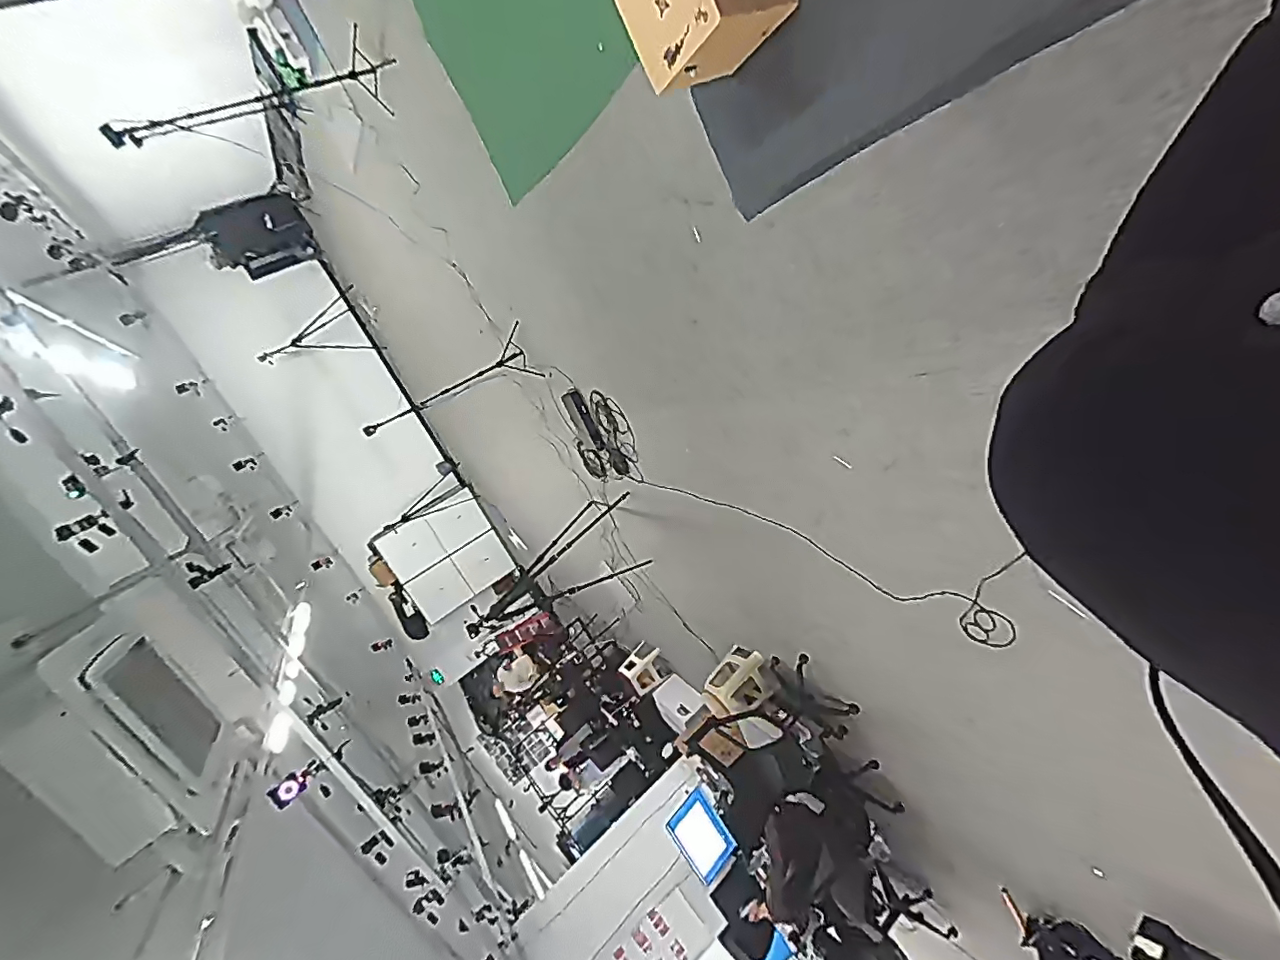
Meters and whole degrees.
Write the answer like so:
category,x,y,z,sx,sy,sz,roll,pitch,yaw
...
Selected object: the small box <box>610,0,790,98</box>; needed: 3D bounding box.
category,x,y,z,sx,sy,sz,roll,pitch,yaw
small box,0.082,-0.704,0.782,0.168,0.176,0.179,2,123,61
